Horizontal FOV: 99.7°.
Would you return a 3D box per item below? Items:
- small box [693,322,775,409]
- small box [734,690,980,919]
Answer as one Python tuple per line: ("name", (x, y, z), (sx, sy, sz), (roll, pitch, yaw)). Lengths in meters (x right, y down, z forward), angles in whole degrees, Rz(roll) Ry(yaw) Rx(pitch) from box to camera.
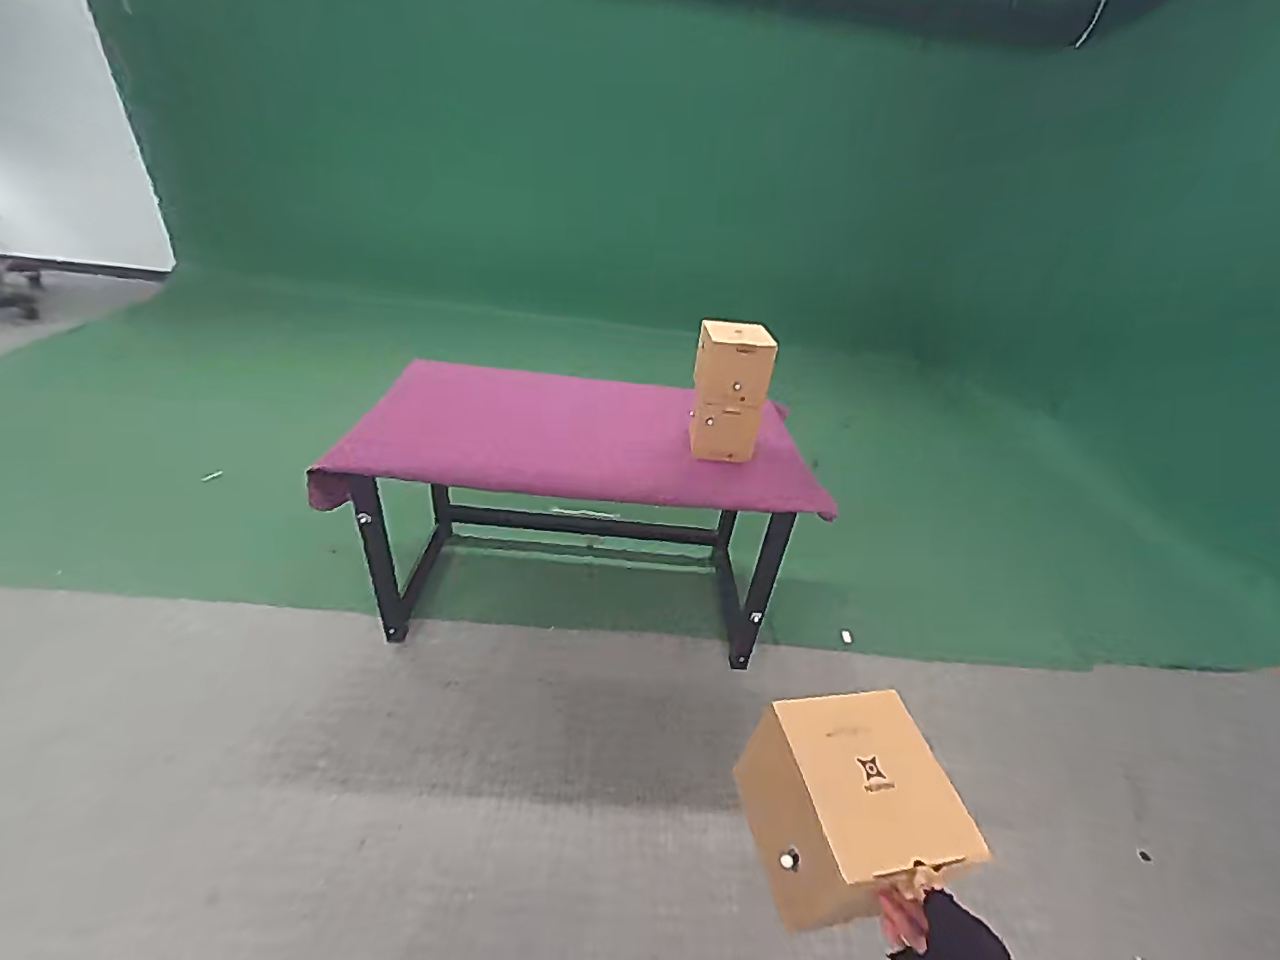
("small box", (0.240, -0.305, 1.434), (0.168, 0.176, 0.179), (3, 34, -5))
("small box", (0.226, 0.369, 0.616), (0.168, 0.176, 0.179), (1, 38, -15))
